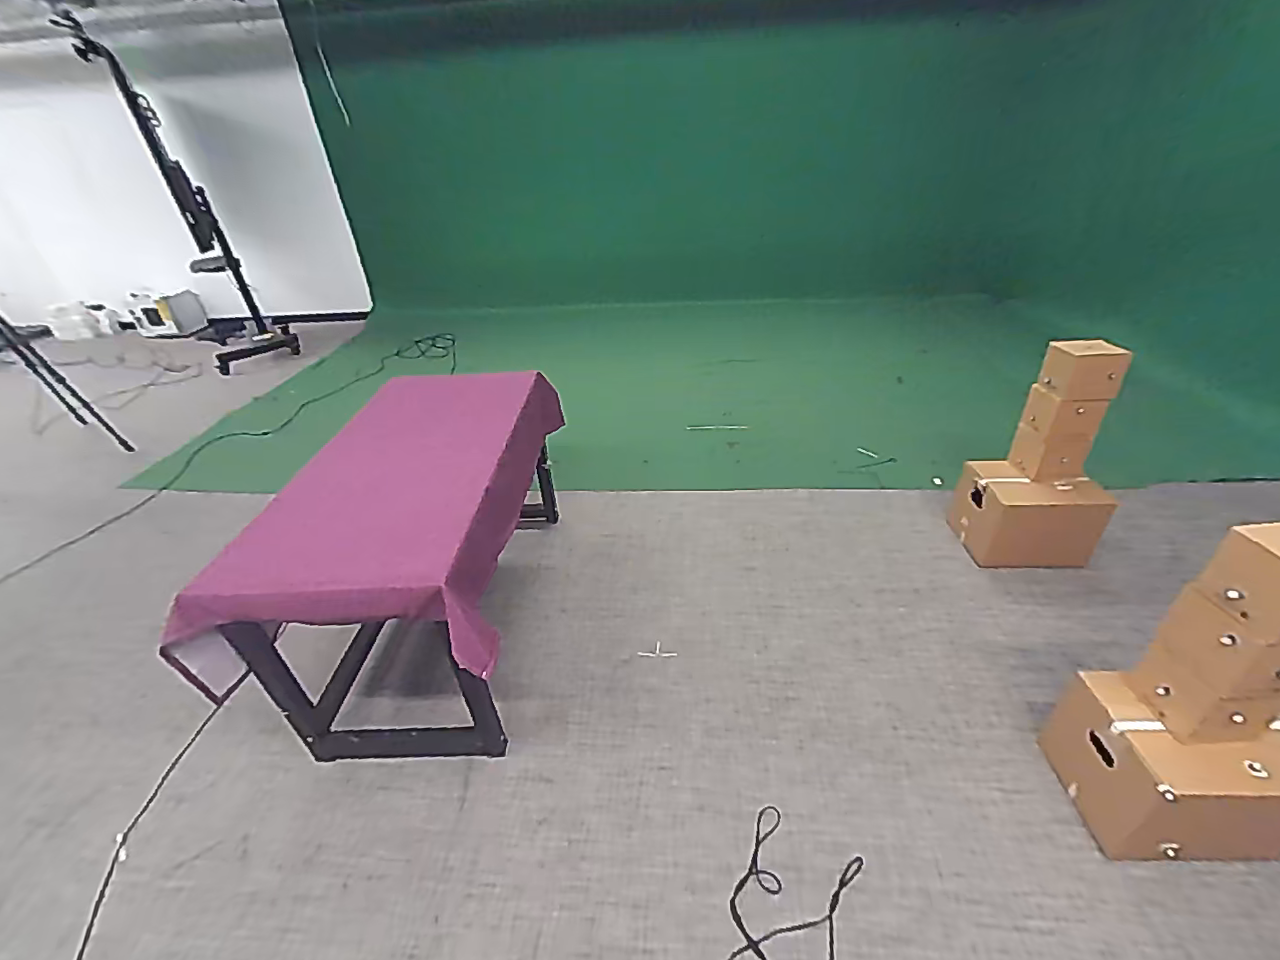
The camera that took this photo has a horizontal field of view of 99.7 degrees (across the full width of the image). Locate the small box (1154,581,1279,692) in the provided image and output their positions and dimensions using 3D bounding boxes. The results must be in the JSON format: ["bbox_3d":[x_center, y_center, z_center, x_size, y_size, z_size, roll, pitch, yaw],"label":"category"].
[{"bbox_3d":[1.278,0.334,1.155,0.168,0.176,0.179,-2,32,1],"label":"small box"}]

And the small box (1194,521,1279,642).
[{"bbox_3d":[1.275,0.197,1.064,0.179,0.176,0.168,-5,32,-1],"label":"small box"}]

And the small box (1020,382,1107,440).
[{"bbox_3d":[1.568,-0.259,2.015,0.179,0.176,0.168,-2,30,4],"label":"small box"}]

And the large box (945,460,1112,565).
[{"bbox_3d":[1.528,0.129,2.171,0.408,0.320,0.320,0,33,3],"label":"large box"}]

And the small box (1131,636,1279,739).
[{"bbox_3d":[1.291,0.474,1.243,0.179,0.176,0.168,-3,32,1],"label":"small box"}]

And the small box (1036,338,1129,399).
[{"bbox_3d":[1.566,-0.397,1.928,0.179,0.176,0.168,-1,30,6],"label":"small box"}]
